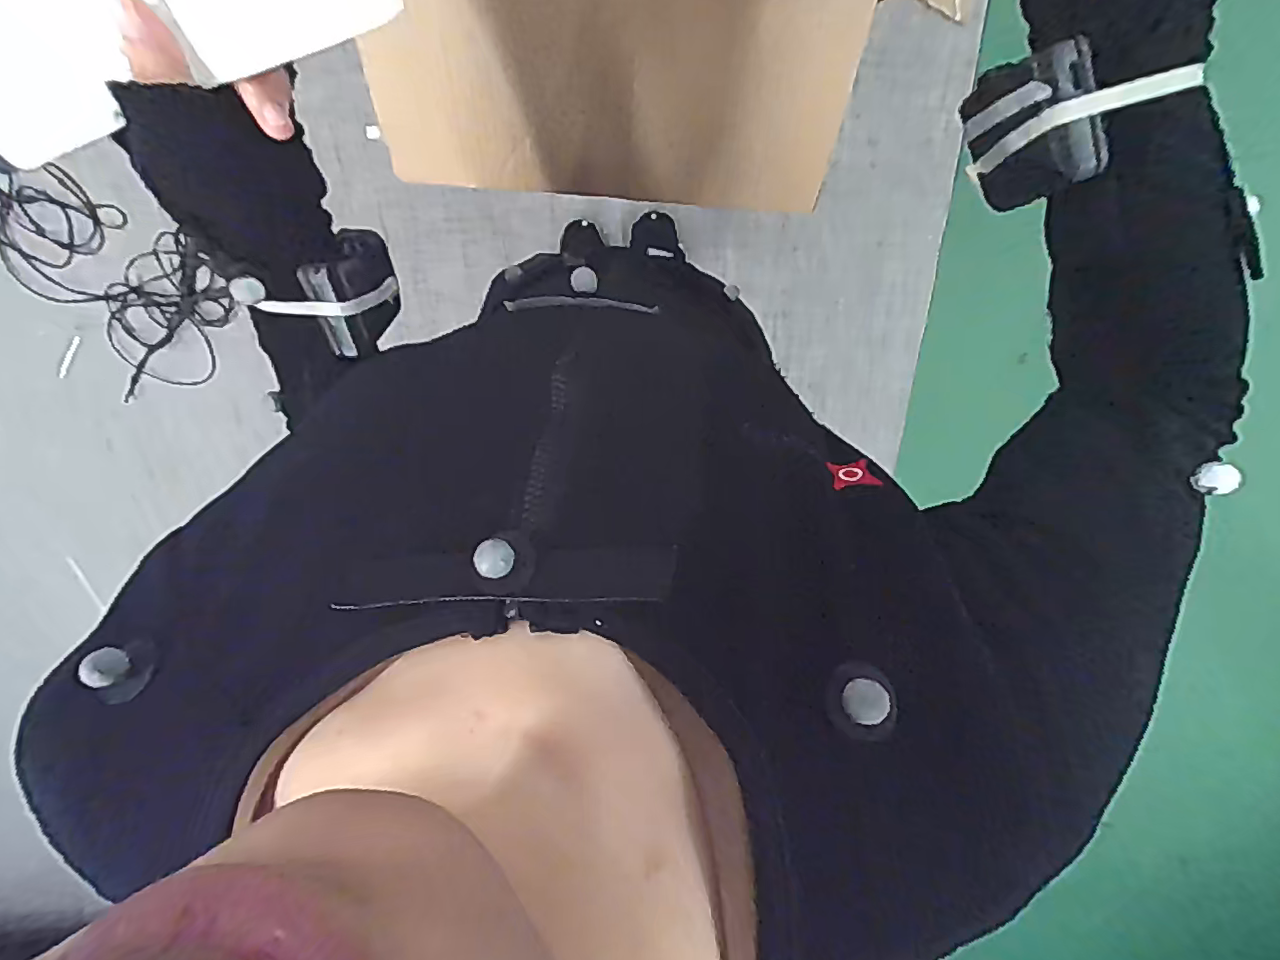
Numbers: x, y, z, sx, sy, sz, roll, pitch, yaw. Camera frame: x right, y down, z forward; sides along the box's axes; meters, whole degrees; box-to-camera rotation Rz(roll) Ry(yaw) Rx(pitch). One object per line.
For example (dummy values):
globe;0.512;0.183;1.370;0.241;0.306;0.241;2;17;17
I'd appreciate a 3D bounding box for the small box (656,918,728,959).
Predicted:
small box;0.131;1.186;1.289;0.168;0.176;0.179;-7;117;2
